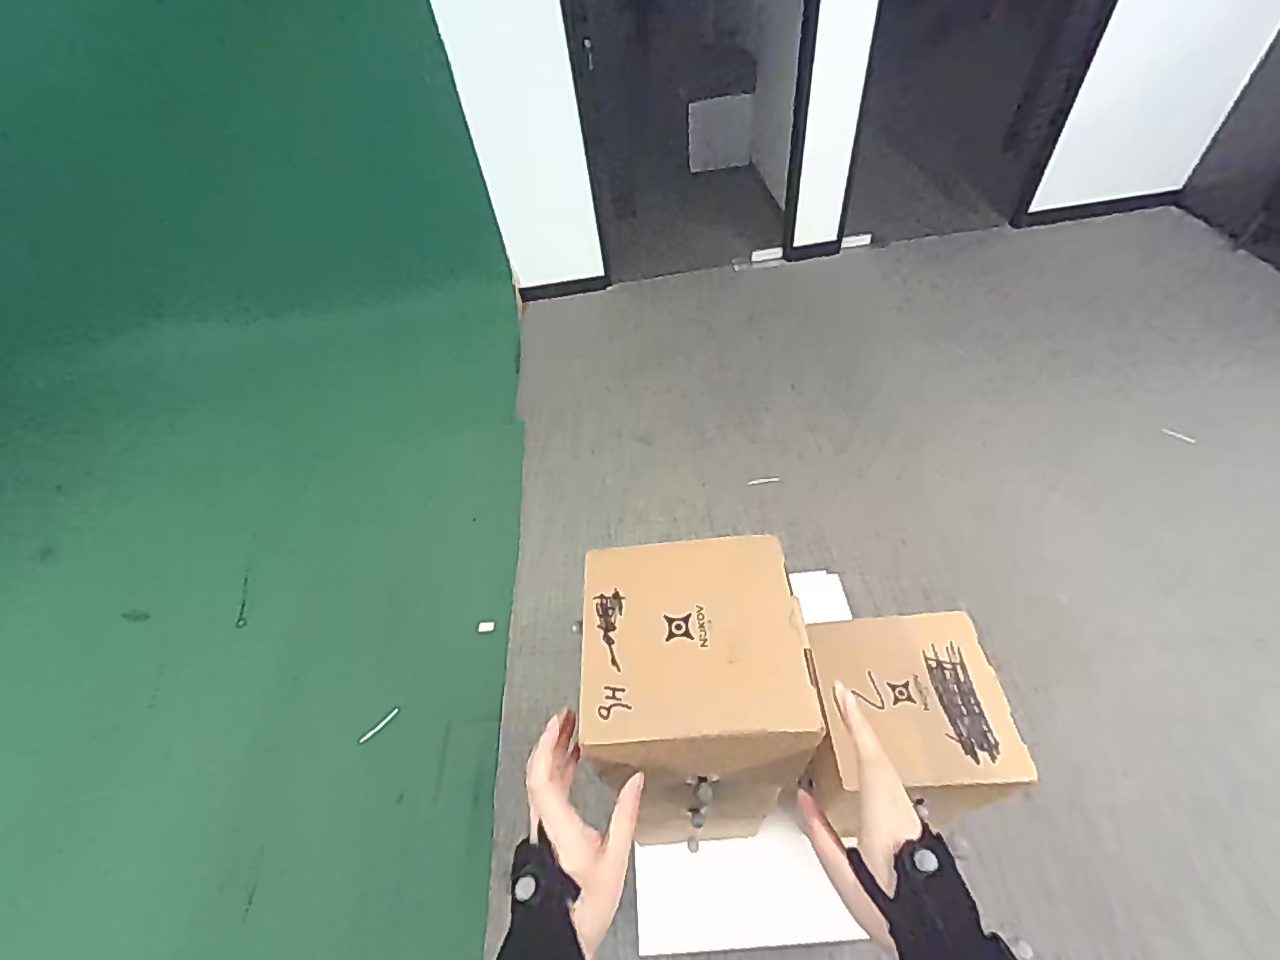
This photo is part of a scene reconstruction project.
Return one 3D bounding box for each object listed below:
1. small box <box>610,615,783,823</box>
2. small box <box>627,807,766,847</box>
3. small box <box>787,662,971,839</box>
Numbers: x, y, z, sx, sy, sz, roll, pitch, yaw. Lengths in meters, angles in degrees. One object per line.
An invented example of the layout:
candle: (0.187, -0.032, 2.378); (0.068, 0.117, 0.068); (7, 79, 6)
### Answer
small box: (0.057, 0.276, 0.621); (0.168, 0.176, 0.179); (-5, 49, 3)
small box: (0.069, 0.385, 0.743); (0.168, 0.176, 0.179); (-6, 50, 2)
small box: (0.300, 0.365, 0.728); (0.168, 0.176, 0.179); (-6, 50, 5)
